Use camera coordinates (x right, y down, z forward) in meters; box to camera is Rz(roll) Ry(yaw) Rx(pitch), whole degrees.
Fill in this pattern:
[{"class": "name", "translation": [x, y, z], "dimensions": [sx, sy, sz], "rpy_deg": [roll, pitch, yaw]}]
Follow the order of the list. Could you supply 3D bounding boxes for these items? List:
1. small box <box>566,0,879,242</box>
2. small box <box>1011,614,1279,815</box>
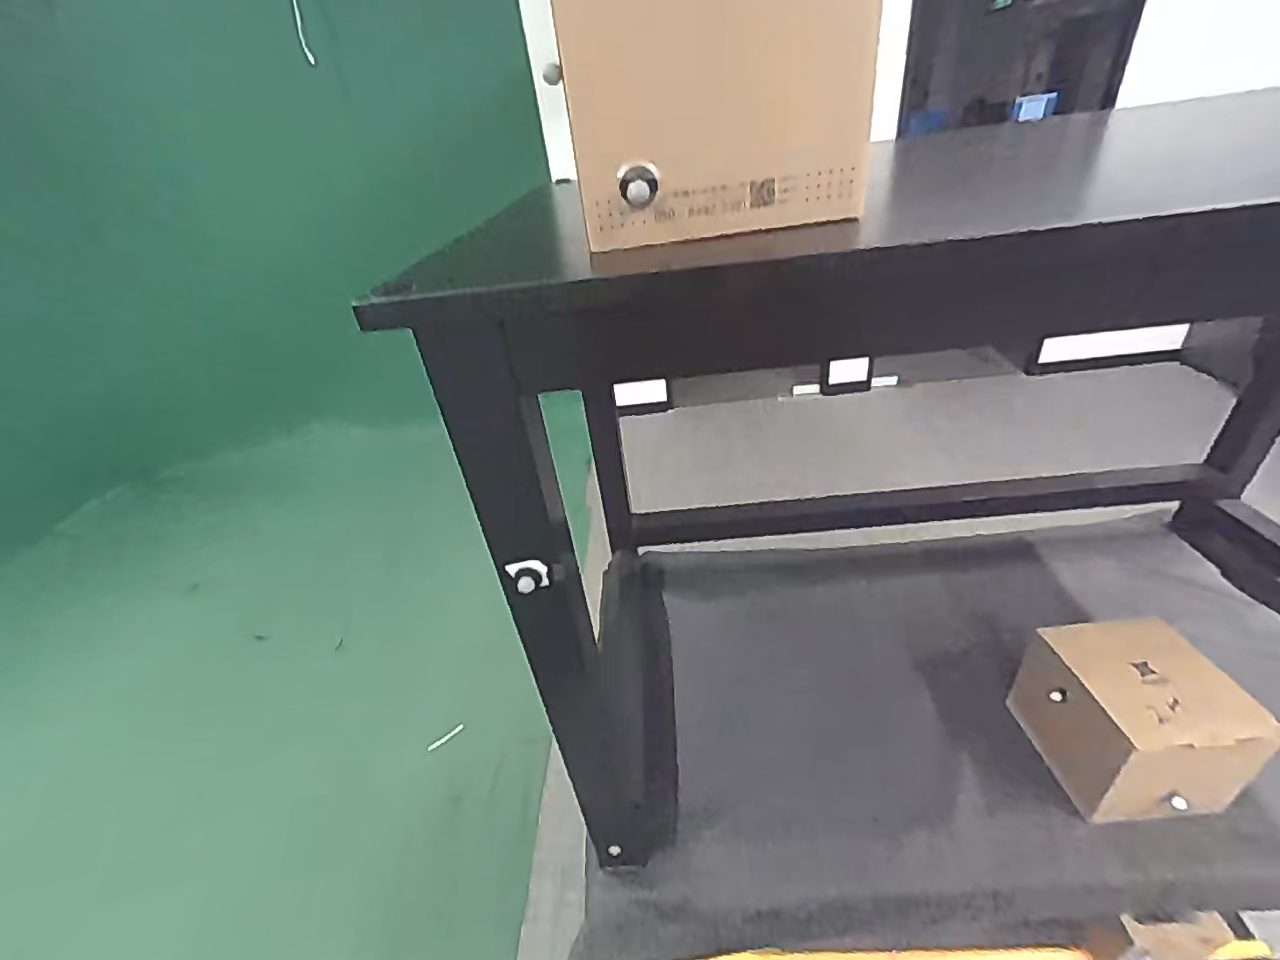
[{"class": "small box", "translation": [0.044, -0.262, 0.356], "dimensions": [0.168, 0.176, 0.179], "rpy_deg": [-7, 32, 0]}, {"class": "small box", "translation": [0.633, 0.304, 0.711], "dimensions": [0.168, 0.176, 0.179], "rpy_deg": [-7, 32, 2]}]
